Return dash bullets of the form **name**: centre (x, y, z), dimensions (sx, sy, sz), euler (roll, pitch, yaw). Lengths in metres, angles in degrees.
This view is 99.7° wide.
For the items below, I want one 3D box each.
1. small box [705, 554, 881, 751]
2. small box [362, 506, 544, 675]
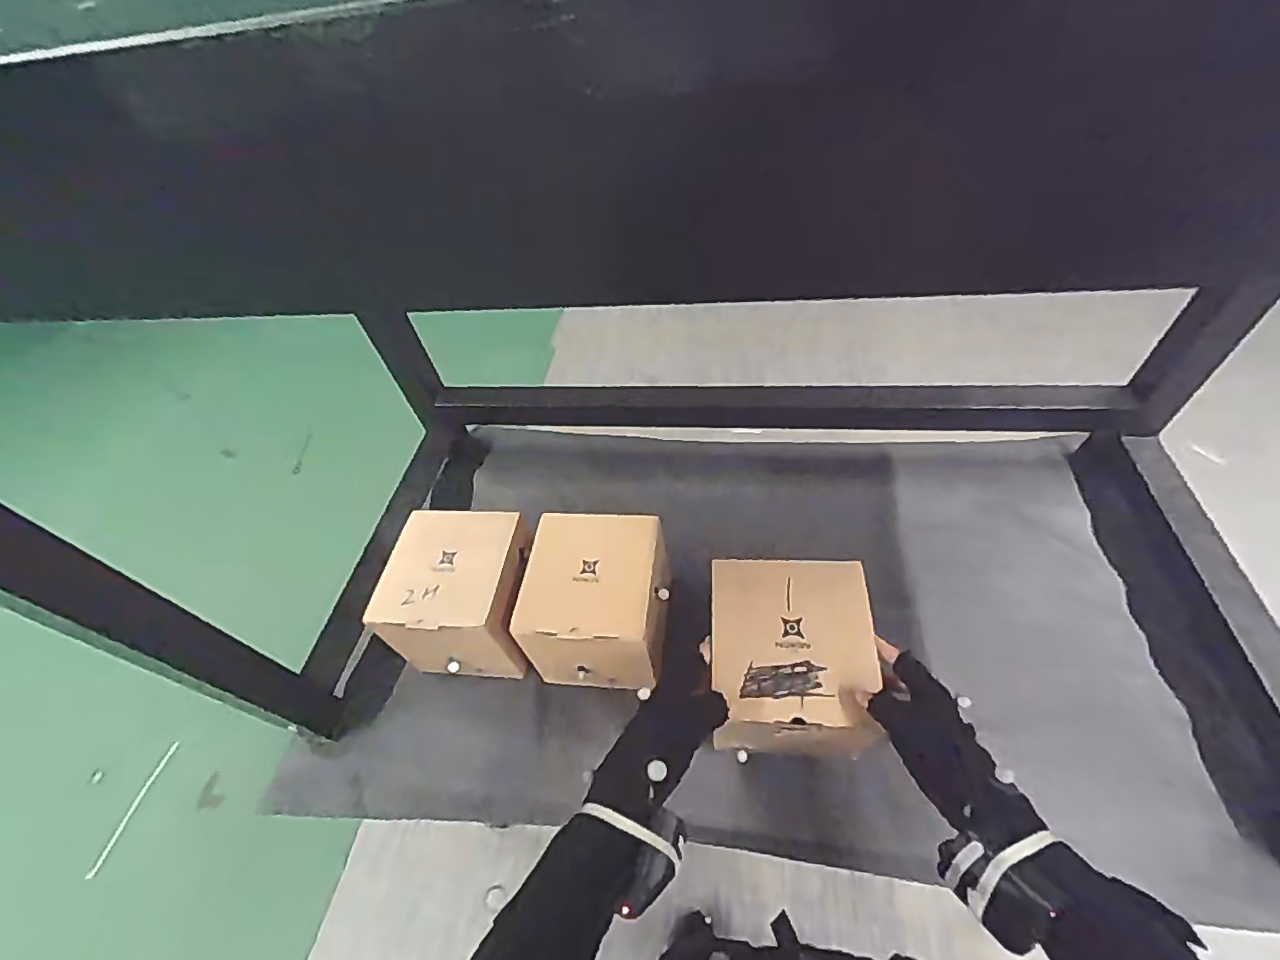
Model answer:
- **small box**: centre (0.162, 0.202, 0.622), dimensions (0.168, 0.176, 0.179), euler (0, 54, 9)
- **small box**: centre (-0.247, 0.157, 0.770), dimensions (0.168, 0.176, 0.179), euler (0, 51, 10)
